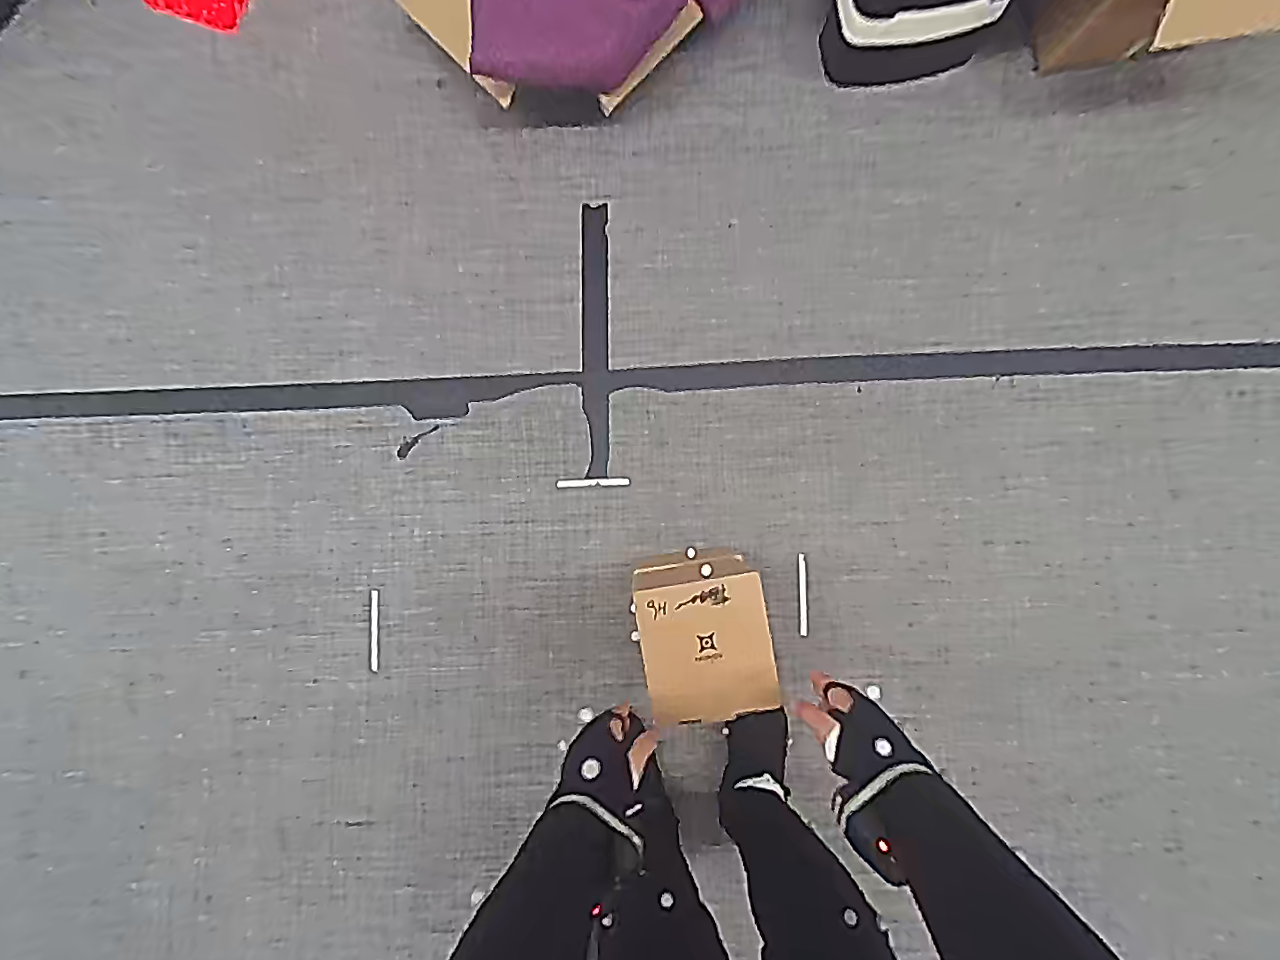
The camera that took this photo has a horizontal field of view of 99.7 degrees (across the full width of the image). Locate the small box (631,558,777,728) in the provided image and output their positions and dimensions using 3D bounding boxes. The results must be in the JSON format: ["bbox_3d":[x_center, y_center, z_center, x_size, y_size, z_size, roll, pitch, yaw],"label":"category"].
[{"bbox_3d":[0.083,0.217,0.761,0.168,0.176,0.179,-9,89,0],"label":"small box"}]

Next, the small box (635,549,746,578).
[{"bbox_3d":[0.087,0.214,0.925,0.179,0.176,0.168,-8,88,0],"label":"small box"}]
